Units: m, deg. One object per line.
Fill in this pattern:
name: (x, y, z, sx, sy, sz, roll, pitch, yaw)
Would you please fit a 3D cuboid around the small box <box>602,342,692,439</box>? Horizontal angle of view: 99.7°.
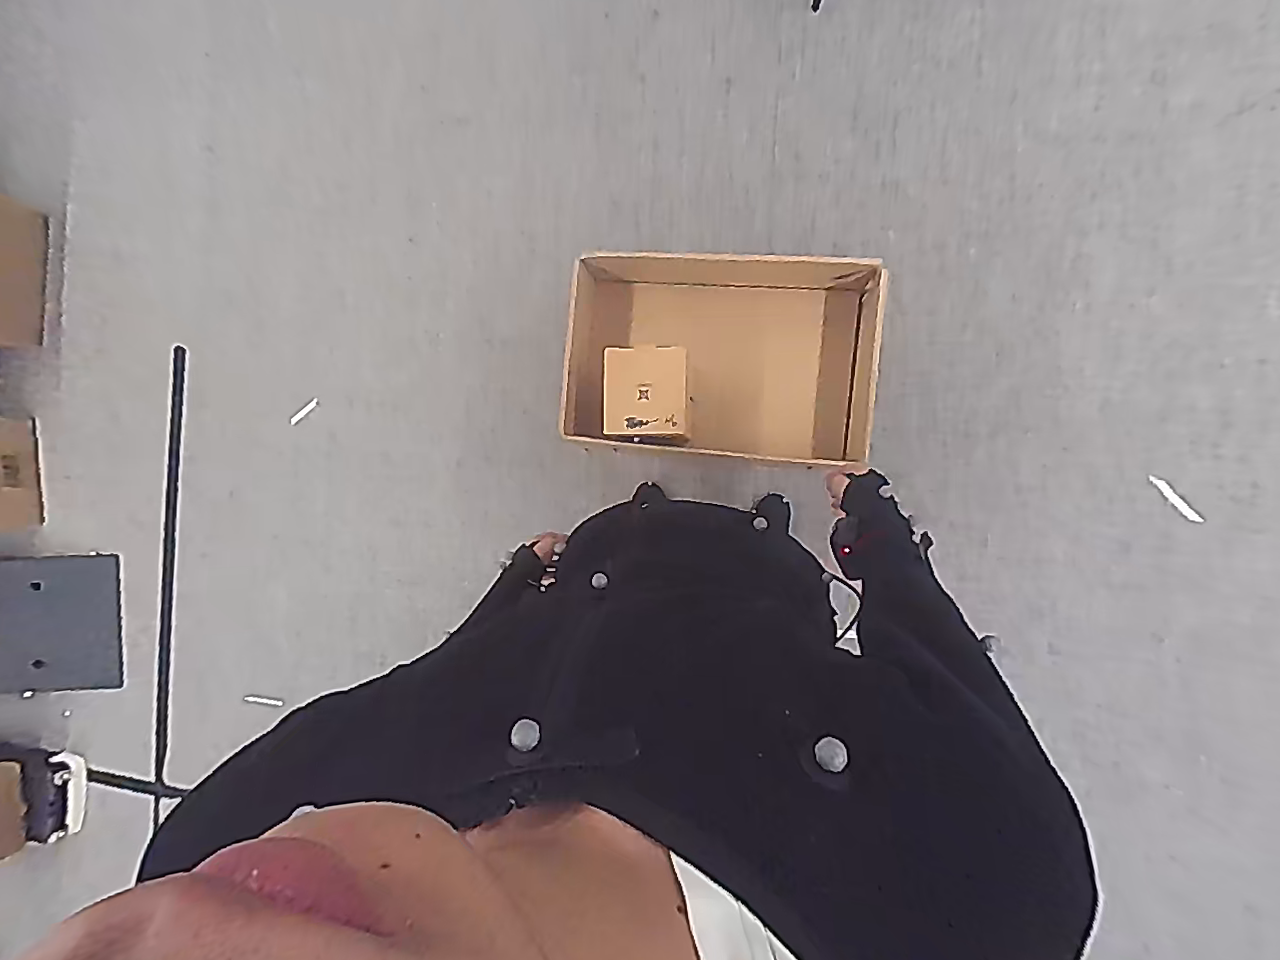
small box: (0.021, -0.184, 1.146, 0.168, 0.176, 0.179, 1, 90, 10)
